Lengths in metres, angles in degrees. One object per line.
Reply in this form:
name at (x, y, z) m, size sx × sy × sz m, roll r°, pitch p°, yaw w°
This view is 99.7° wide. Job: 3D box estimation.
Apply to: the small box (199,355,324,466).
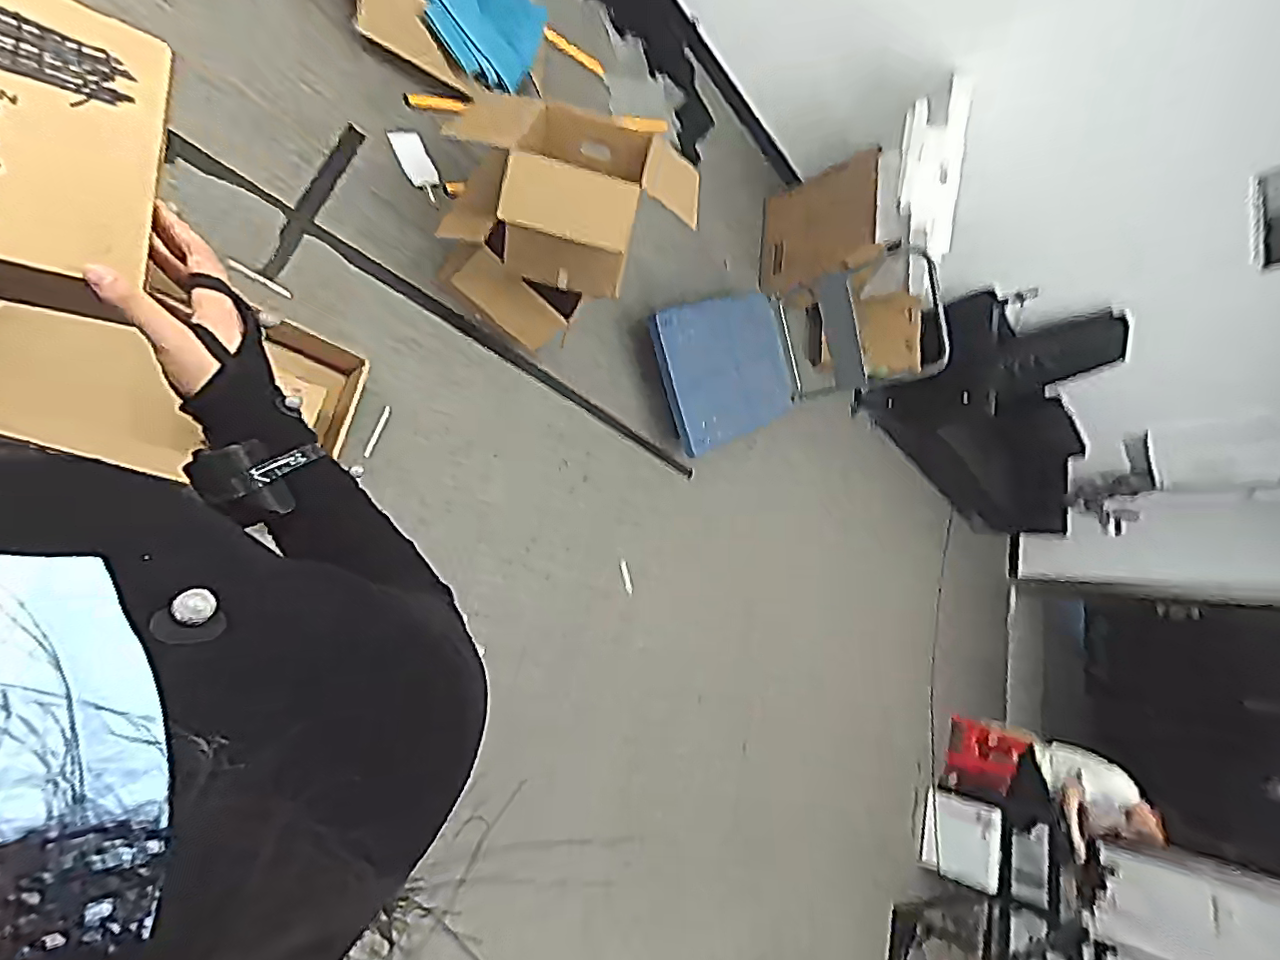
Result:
small box at (-0.830, -0.141, 1.183) m, size 0.168 × 0.176 × 0.179 m, roll 27°, pitch 67°, yaw -39°
